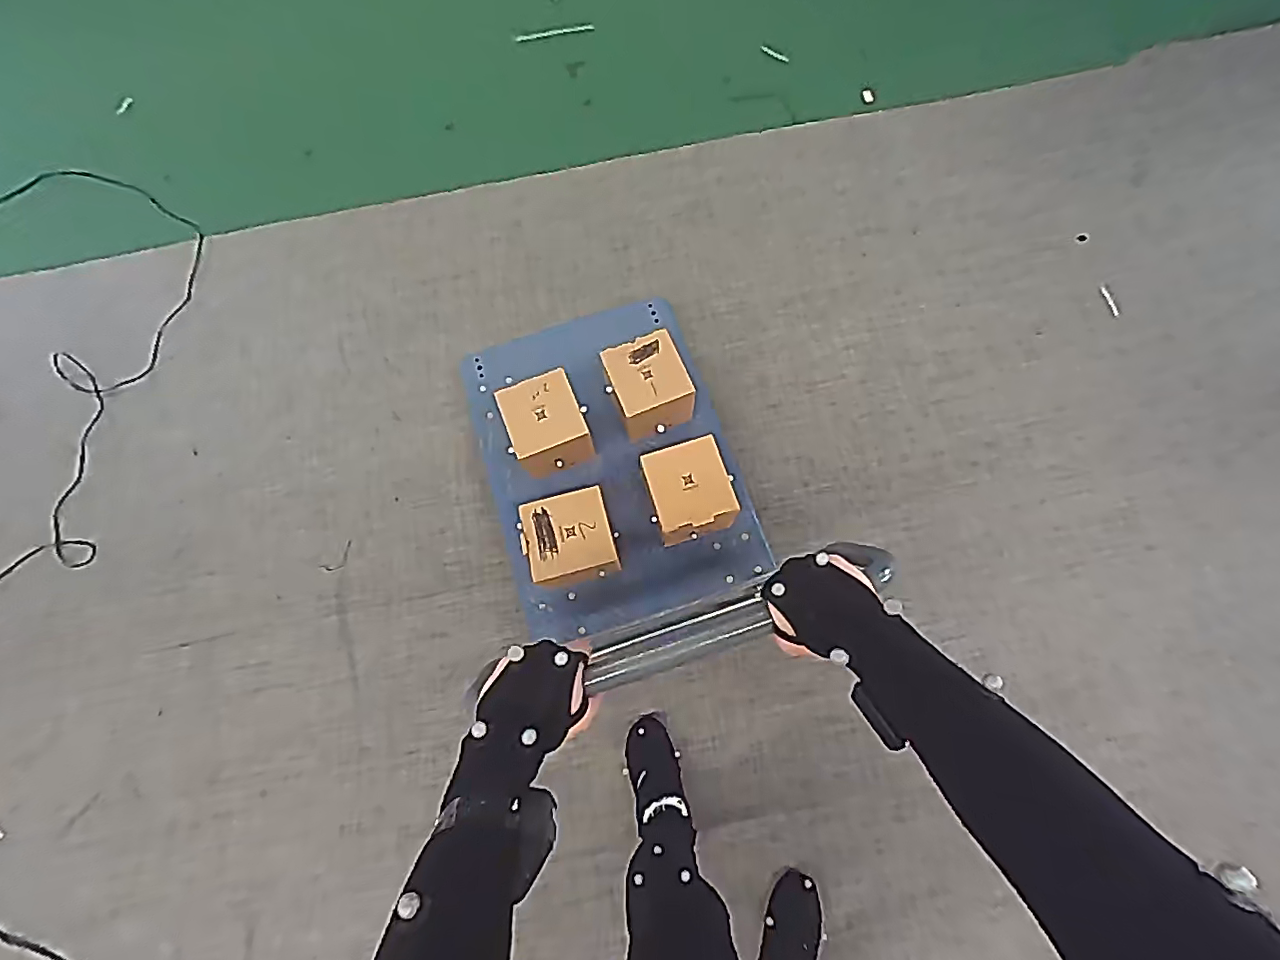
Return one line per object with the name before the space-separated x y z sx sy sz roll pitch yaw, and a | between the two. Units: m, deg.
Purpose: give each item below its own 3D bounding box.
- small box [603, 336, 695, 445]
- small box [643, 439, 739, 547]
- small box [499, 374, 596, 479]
small box | 0.021 -0.209 1.301 0.168 0.176 0.179 -22 74 -4
small box | 0.107 0.035 1.222 0.168 0.176 0.179 -17 73 -3
small box | -0.211 -0.115 1.281 0.168 0.176 0.179 -21 73 -5
